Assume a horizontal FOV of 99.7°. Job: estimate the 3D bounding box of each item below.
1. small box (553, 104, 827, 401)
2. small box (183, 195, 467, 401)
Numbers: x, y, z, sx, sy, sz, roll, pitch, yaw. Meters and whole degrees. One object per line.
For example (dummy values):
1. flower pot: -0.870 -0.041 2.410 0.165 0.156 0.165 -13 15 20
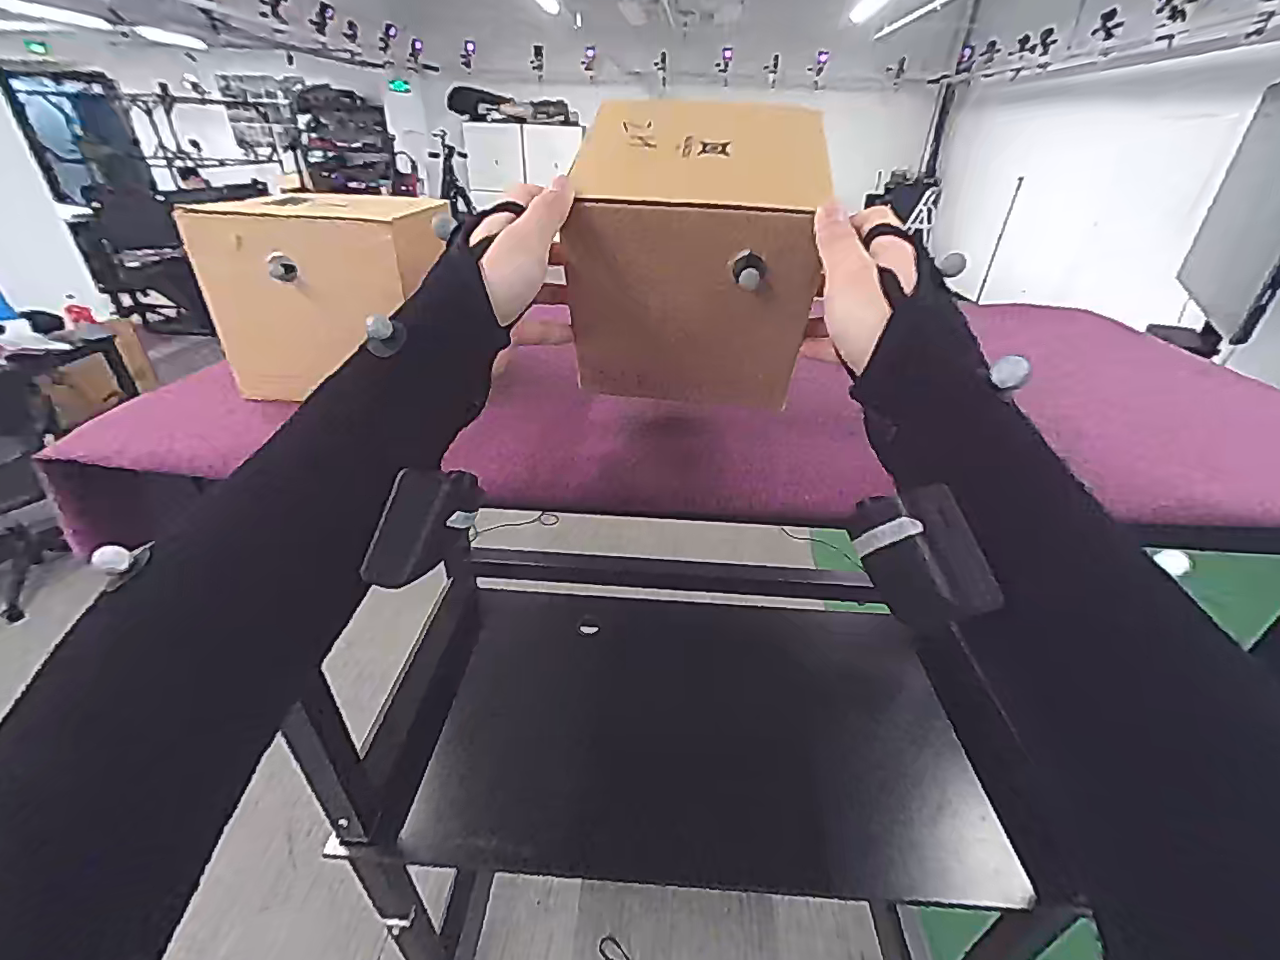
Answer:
1. small box: 0.043 -0.184 0.450 0.179 0.176 0.168 6 52 7
2. small box: -0.292 -0.188 0.551 0.179 0.176 0.168 3 32 -1
